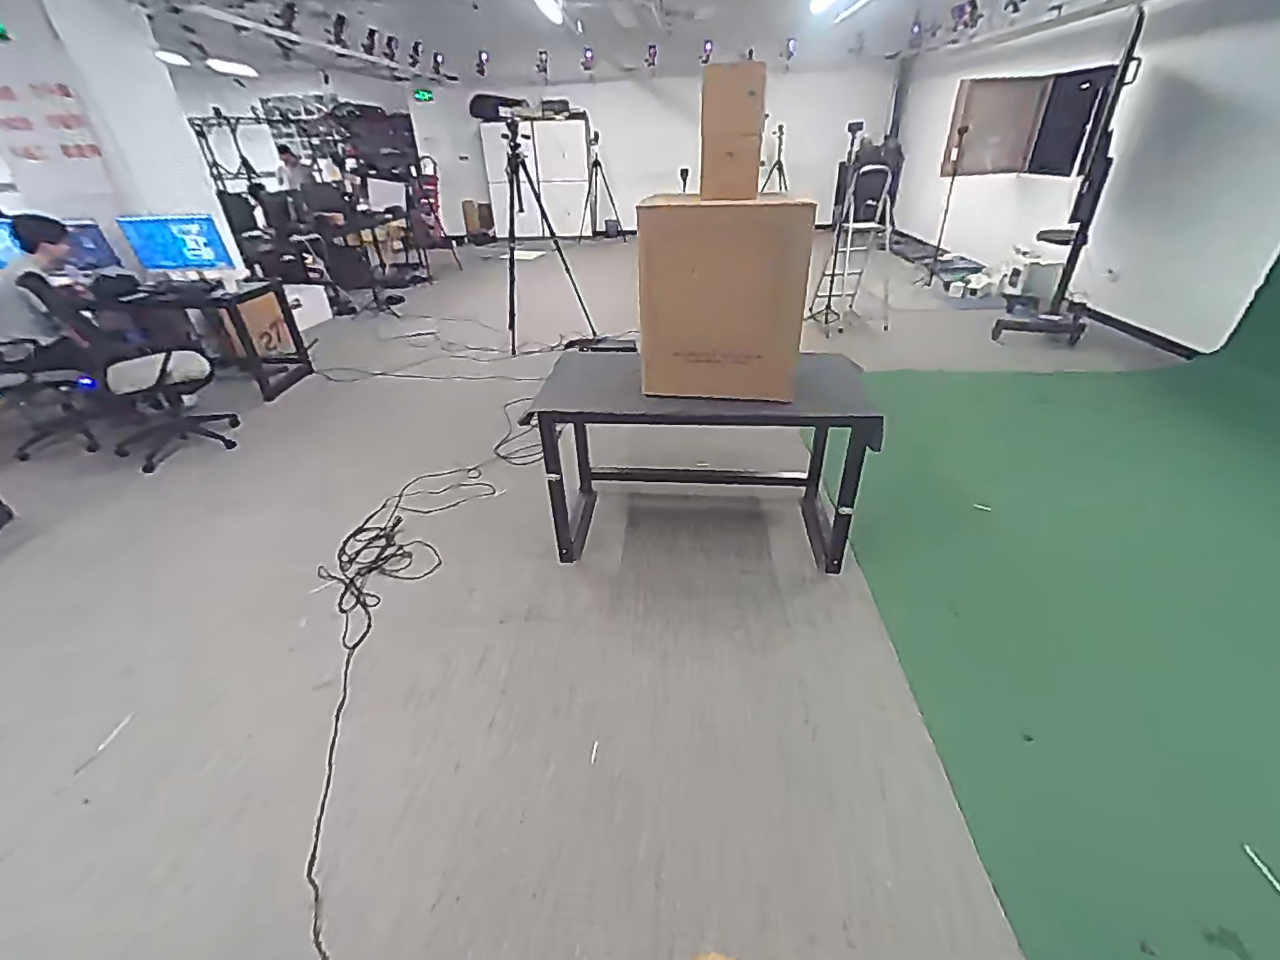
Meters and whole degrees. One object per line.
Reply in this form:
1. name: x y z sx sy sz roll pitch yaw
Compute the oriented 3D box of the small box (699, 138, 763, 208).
1. small box: 0.278 -0.939 1.653 0.179 0.176 0.168 5 35 11
